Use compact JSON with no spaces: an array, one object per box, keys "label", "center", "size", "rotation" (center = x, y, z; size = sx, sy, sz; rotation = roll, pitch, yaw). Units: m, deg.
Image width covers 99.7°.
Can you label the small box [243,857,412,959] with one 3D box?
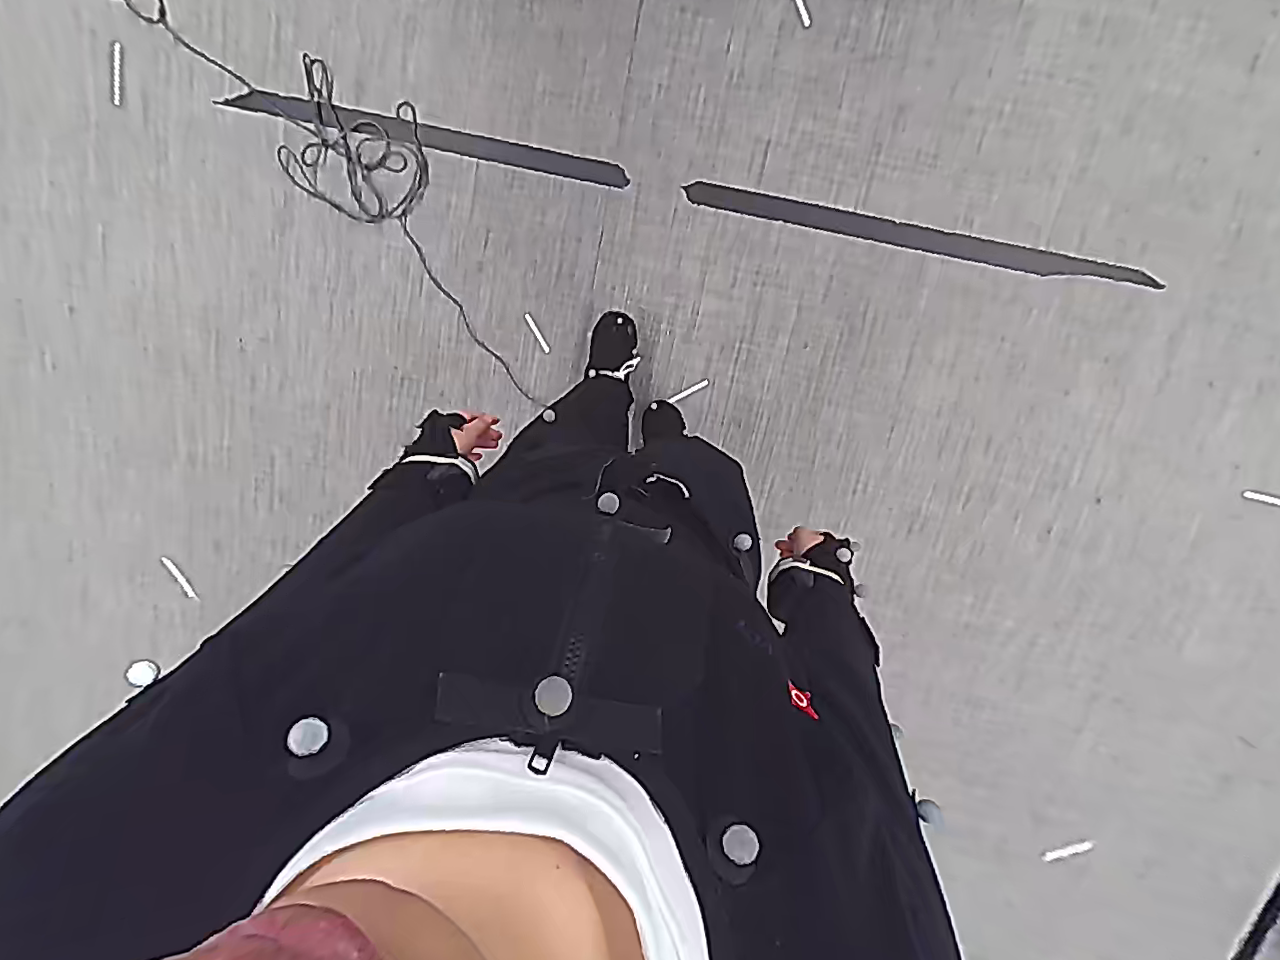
[{"label":"small box","center":[-0.493,0.753,0.864],"size":[0.179,0.176,0.168],"rotation":[15,102,5]}]
